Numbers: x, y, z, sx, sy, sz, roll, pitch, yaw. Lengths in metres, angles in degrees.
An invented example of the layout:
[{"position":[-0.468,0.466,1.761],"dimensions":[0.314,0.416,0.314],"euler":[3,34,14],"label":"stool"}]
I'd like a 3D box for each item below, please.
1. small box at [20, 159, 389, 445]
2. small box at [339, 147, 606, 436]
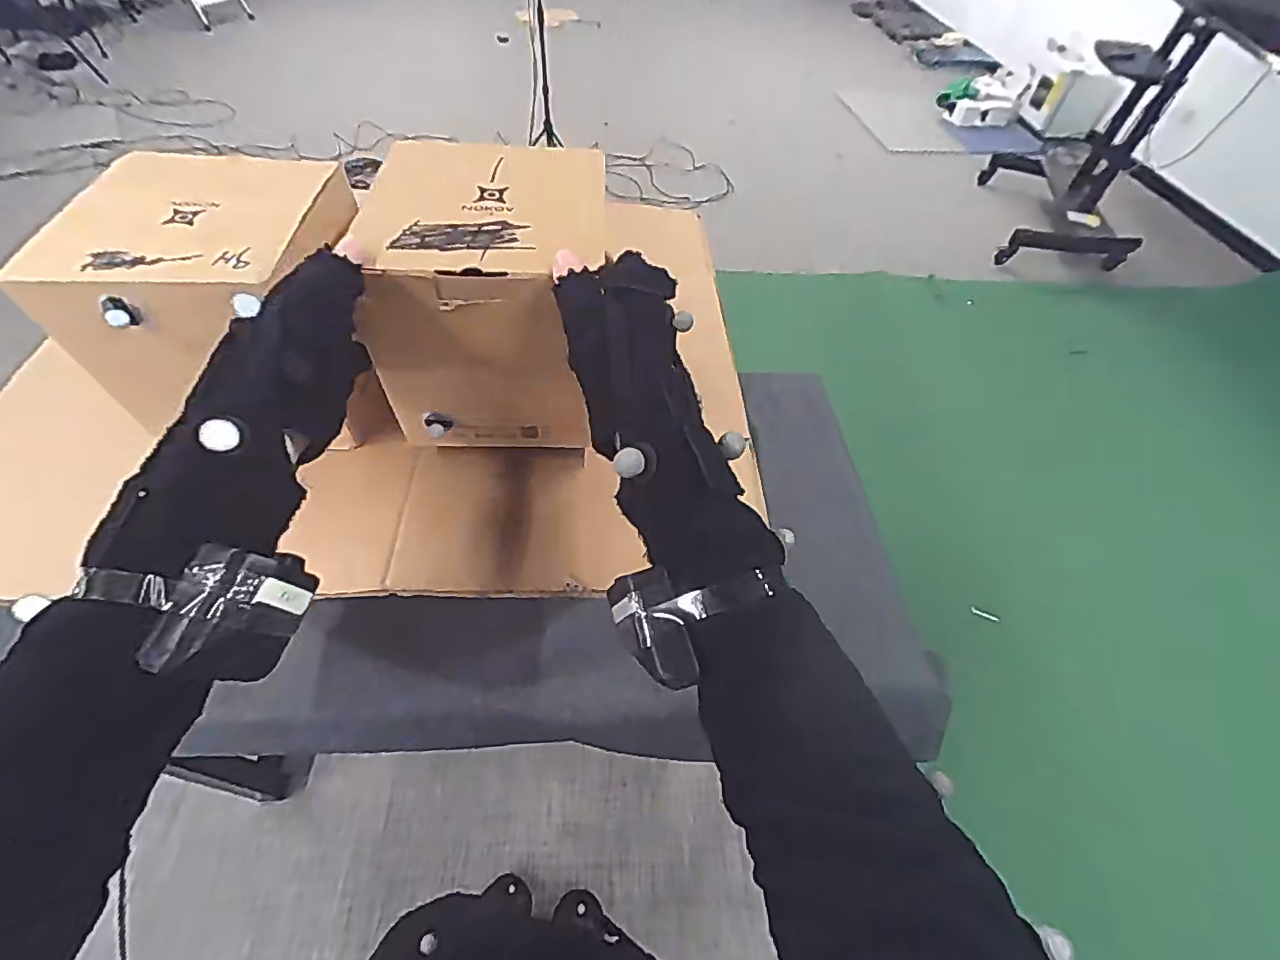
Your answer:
[{"position":[-0.327,-0.151,0.467],"dimensions":[0.168,0.176,0.179],"euler":[-1,52,-2],"label":"small box"},{"position":[-0.114,-0.152,0.456],"dimensions":[0.168,0.176,0.179],"euler":[1,52,-3],"label":"small box"}]
